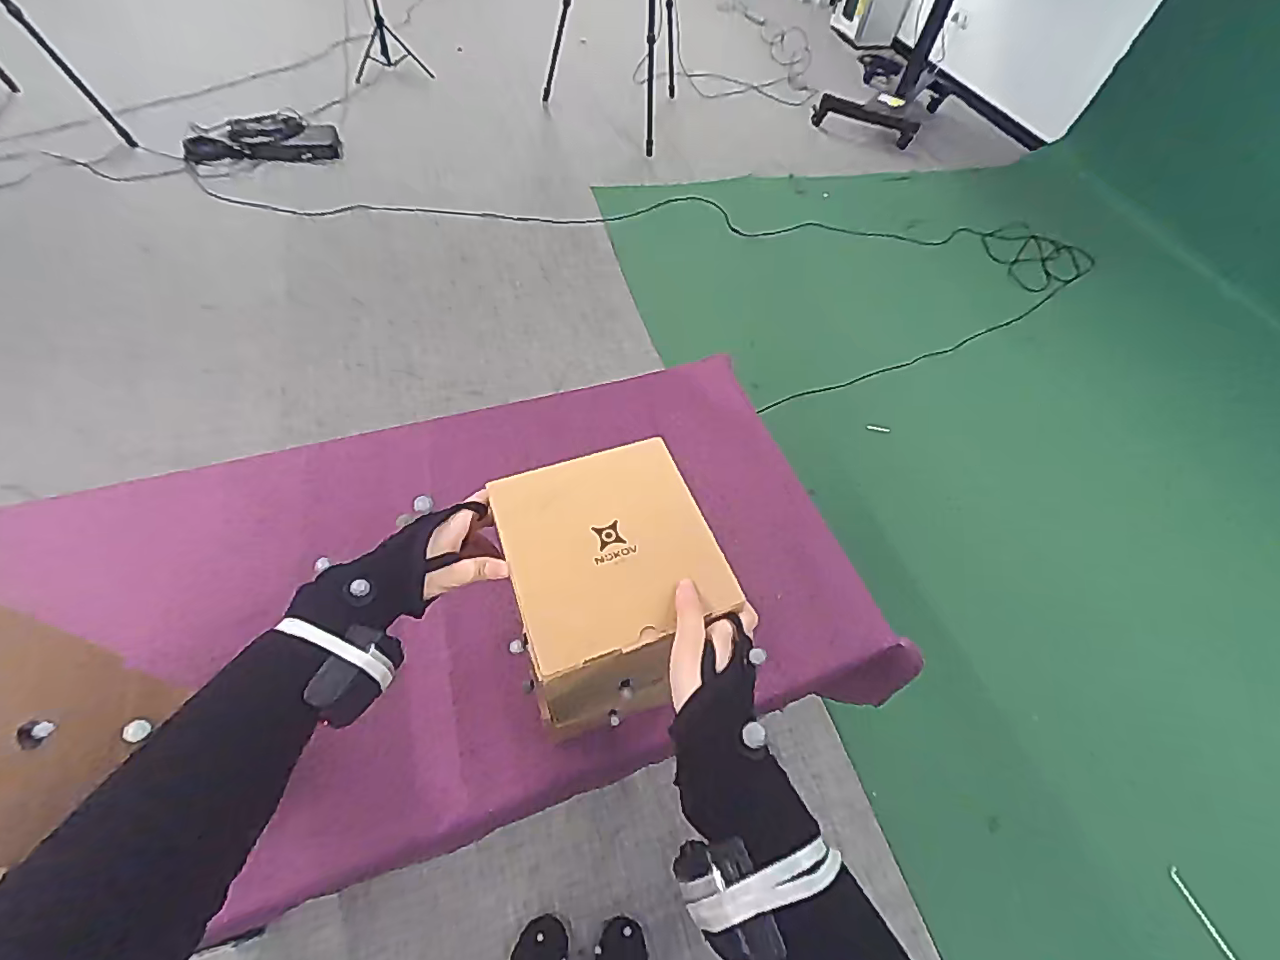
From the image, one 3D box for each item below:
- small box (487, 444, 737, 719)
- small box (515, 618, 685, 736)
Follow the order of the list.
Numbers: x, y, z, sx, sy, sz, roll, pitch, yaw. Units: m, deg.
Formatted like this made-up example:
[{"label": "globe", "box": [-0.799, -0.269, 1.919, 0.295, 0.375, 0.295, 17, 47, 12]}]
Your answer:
[{"label": "small box", "box": [-0.036, 0.098, 0.510, 0.168, 0.176, 0.179, -16, 59, -16]}, {"label": "small box", "box": [-0.060, 0.198, 0.666, 0.168, 0.176, 0.179, -13, 58, -16]}]
